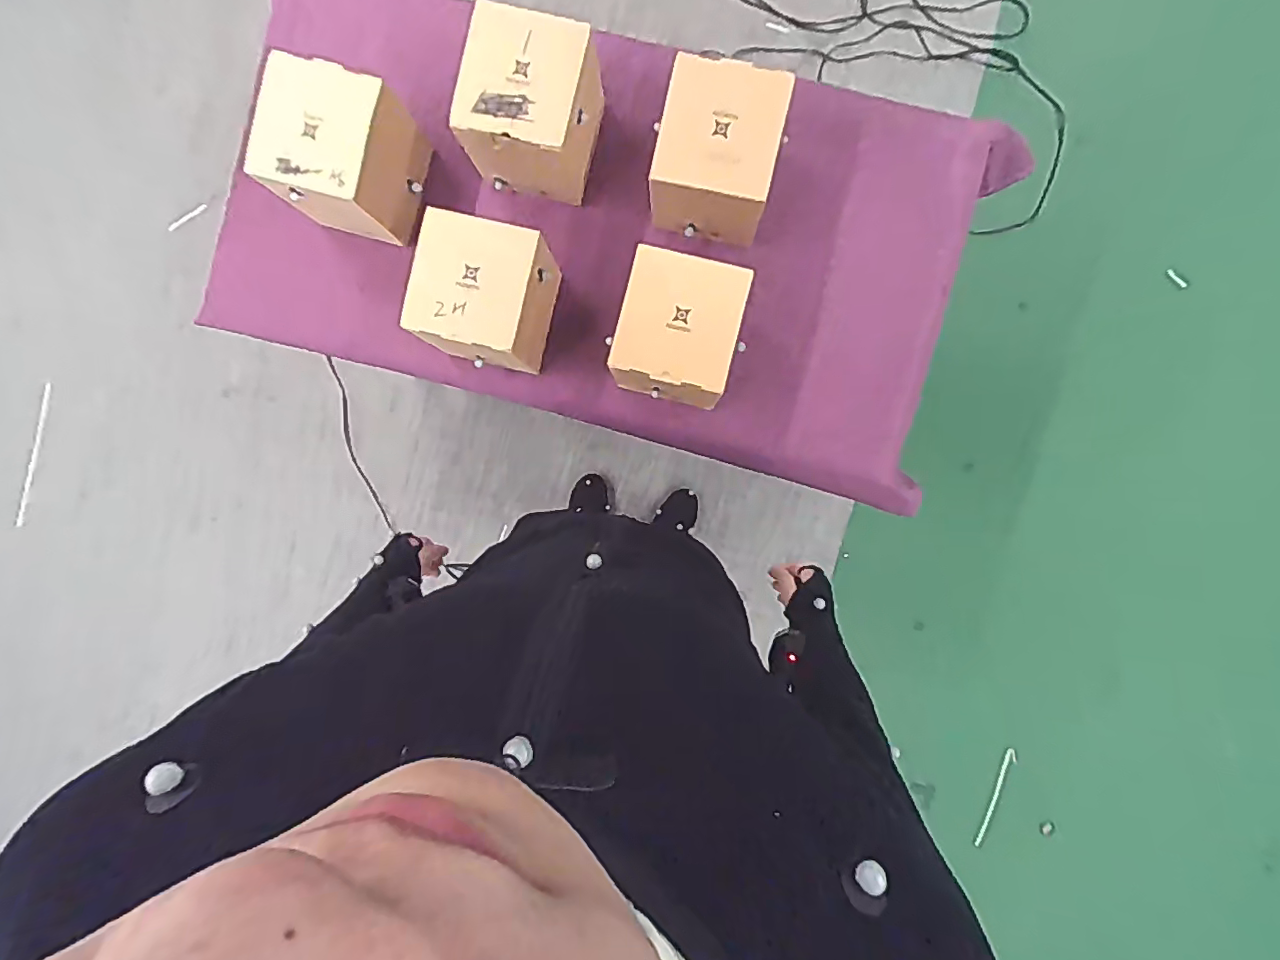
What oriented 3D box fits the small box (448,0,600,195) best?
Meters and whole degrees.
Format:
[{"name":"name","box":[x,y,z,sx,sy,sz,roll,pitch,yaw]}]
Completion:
[{"name":"small box","box":[-0.162,-0.564,0.813,0.168,0.176,0.179,14,92,1]}]

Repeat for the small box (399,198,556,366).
[{"name":"small box","box":[-0.234,-0.289,0.825,0.168,0.176,0.179,14,92,2]}]

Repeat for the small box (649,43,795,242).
[{"name":"small box","box":[0.112,-0.489,0.808,0.168,0.176,0.179,14,94,2]}]

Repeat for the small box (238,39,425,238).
[{"name":"small box","box":[-0.452,-0.504,0.822,0.168,0.176,0.179,16,92,3]}]

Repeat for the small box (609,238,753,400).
[{"name":"small box","box":[0.057,-0.231,0.819,0.168,0.176,0.179,14,93,1]}]
